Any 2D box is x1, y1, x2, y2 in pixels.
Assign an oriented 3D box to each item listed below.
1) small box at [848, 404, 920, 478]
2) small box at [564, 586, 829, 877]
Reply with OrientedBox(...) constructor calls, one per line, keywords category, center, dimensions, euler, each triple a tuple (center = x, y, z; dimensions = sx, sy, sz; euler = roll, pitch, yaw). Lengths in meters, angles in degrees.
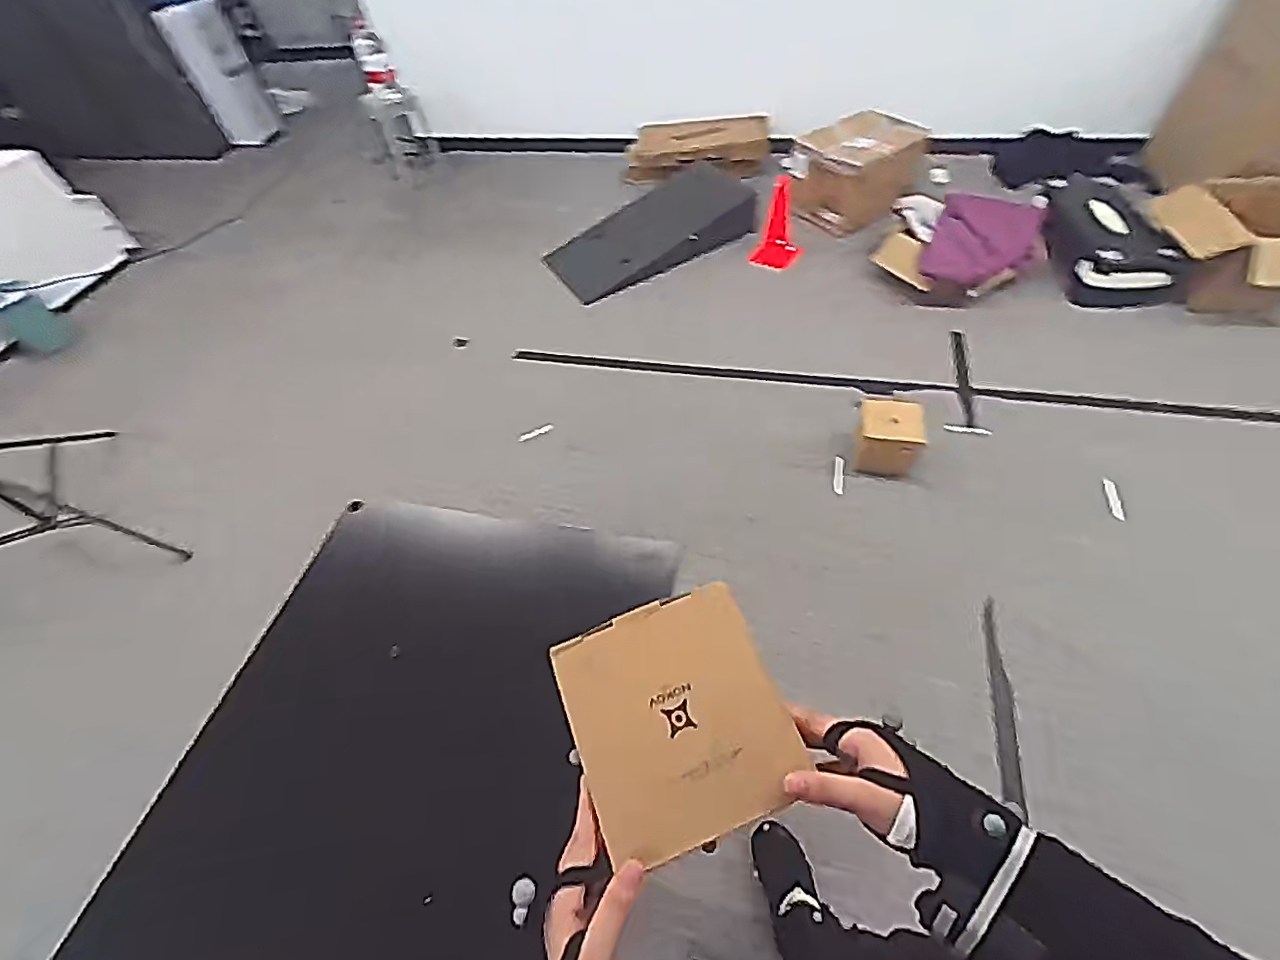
OrientedBox(category="small box", center=(0.790, -0.124, 1.764), dimensions=(0.179, 0.176, 0.168), euler=(7, 54, 12))
OrientedBox(category="small box", center=(0.042, 0.228, 0.501), dimensions=(0.168, 0.176, 0.179), euler=(-20, 62, -6))
